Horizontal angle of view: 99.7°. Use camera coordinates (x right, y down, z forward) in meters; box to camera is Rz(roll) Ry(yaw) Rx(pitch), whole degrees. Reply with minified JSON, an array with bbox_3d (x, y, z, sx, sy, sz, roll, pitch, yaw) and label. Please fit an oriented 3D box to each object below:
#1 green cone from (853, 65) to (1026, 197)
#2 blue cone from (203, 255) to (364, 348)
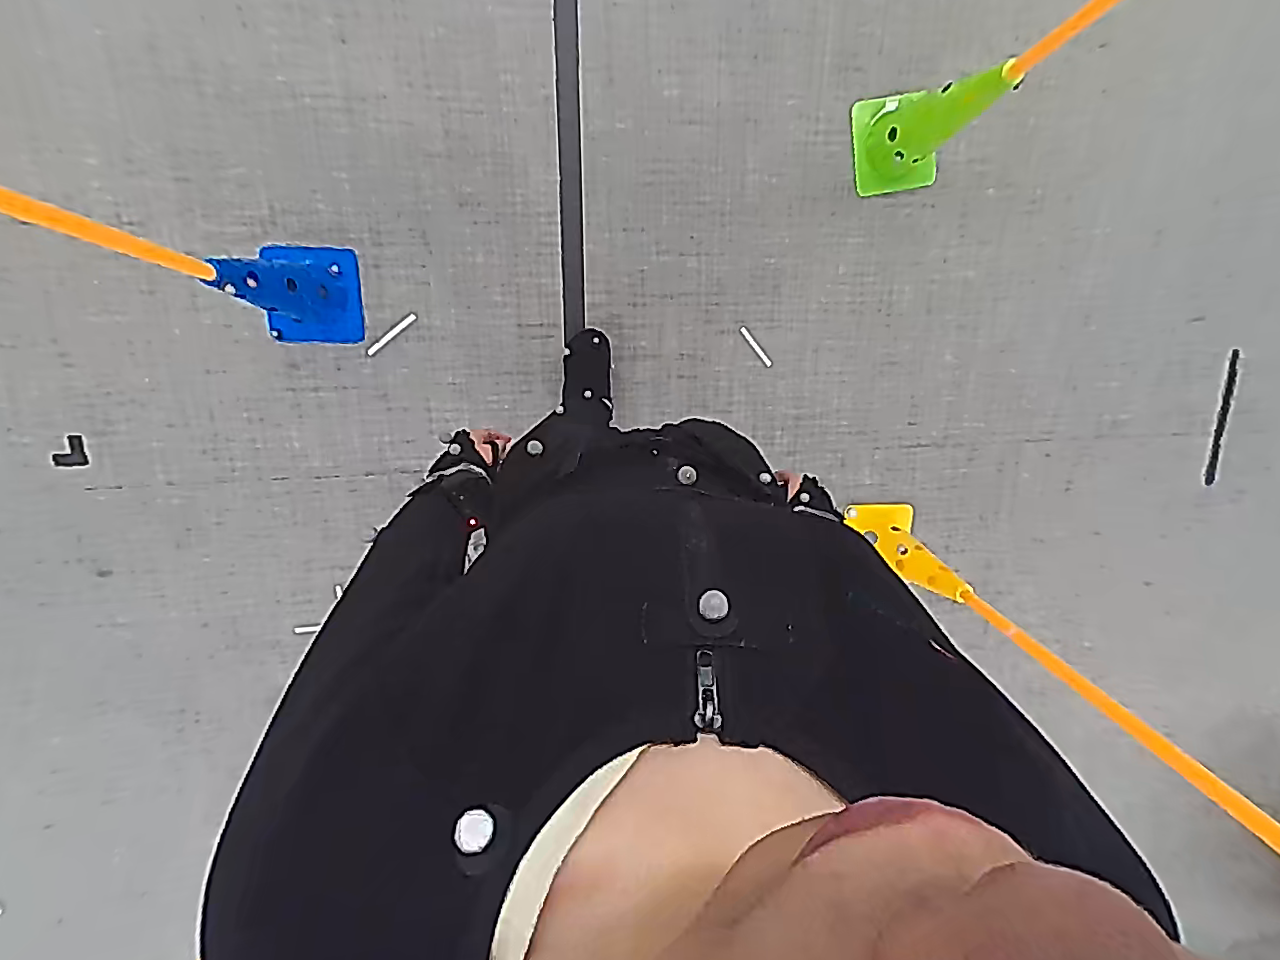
[{"bbox_3d":[0.614,-0.736,1.091,0.200,0.368,0.202,-13,106,-4],"label":"green cone"},{"bbox_3d":[-0.695,-0.352,1.028,0.193,0.380,0.192,1,103,-7],"label":"blue cone"}]
